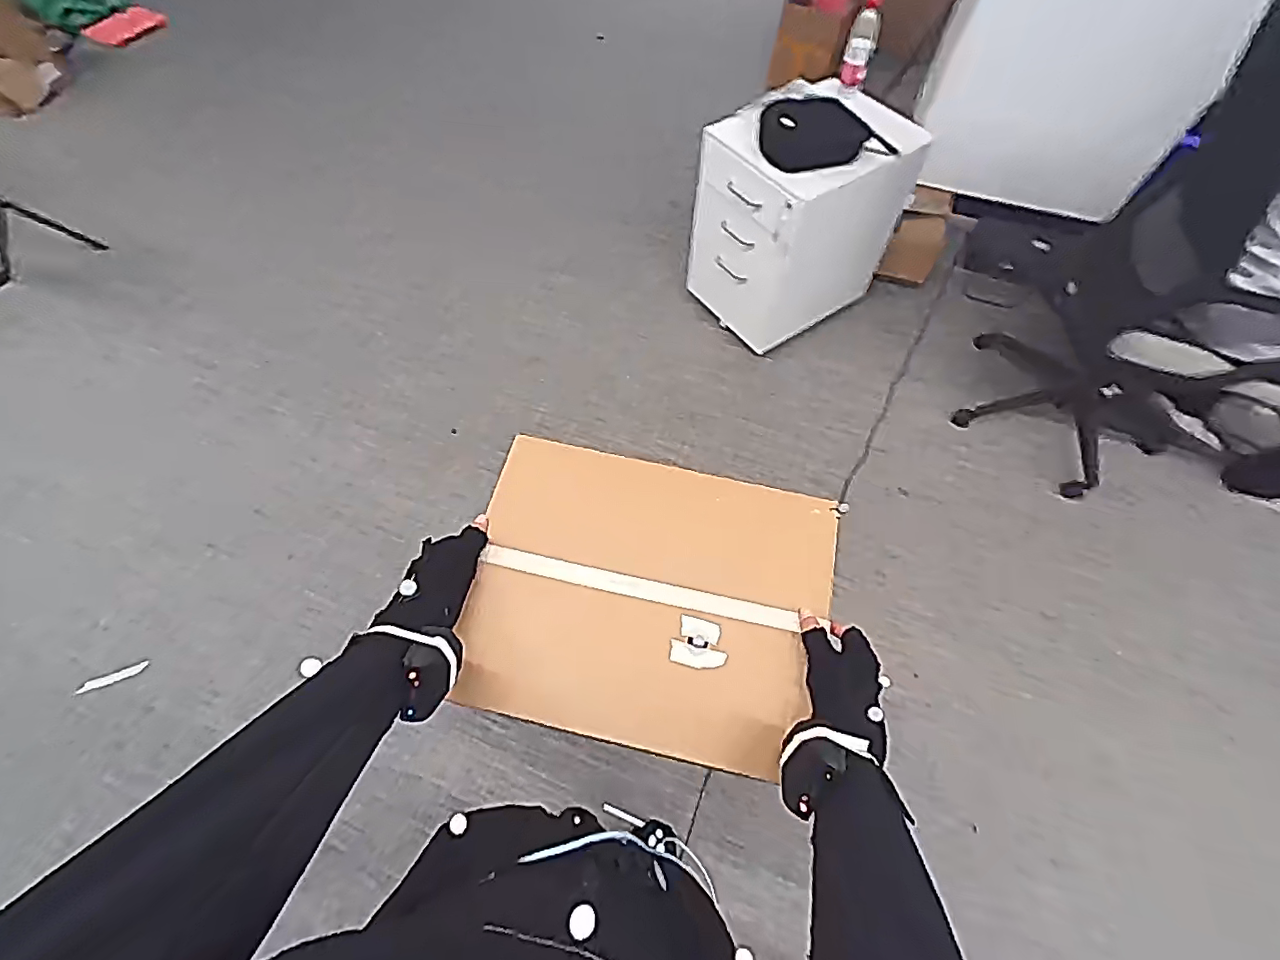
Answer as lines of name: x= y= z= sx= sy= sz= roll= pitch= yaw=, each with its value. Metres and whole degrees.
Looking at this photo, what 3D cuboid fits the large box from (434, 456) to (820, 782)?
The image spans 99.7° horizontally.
large box: x=-0.004 y=0.201 z=0.755 sx=0.408 sy=0.320 sz=0.320 roll=11 pitch=65 yaw=3
